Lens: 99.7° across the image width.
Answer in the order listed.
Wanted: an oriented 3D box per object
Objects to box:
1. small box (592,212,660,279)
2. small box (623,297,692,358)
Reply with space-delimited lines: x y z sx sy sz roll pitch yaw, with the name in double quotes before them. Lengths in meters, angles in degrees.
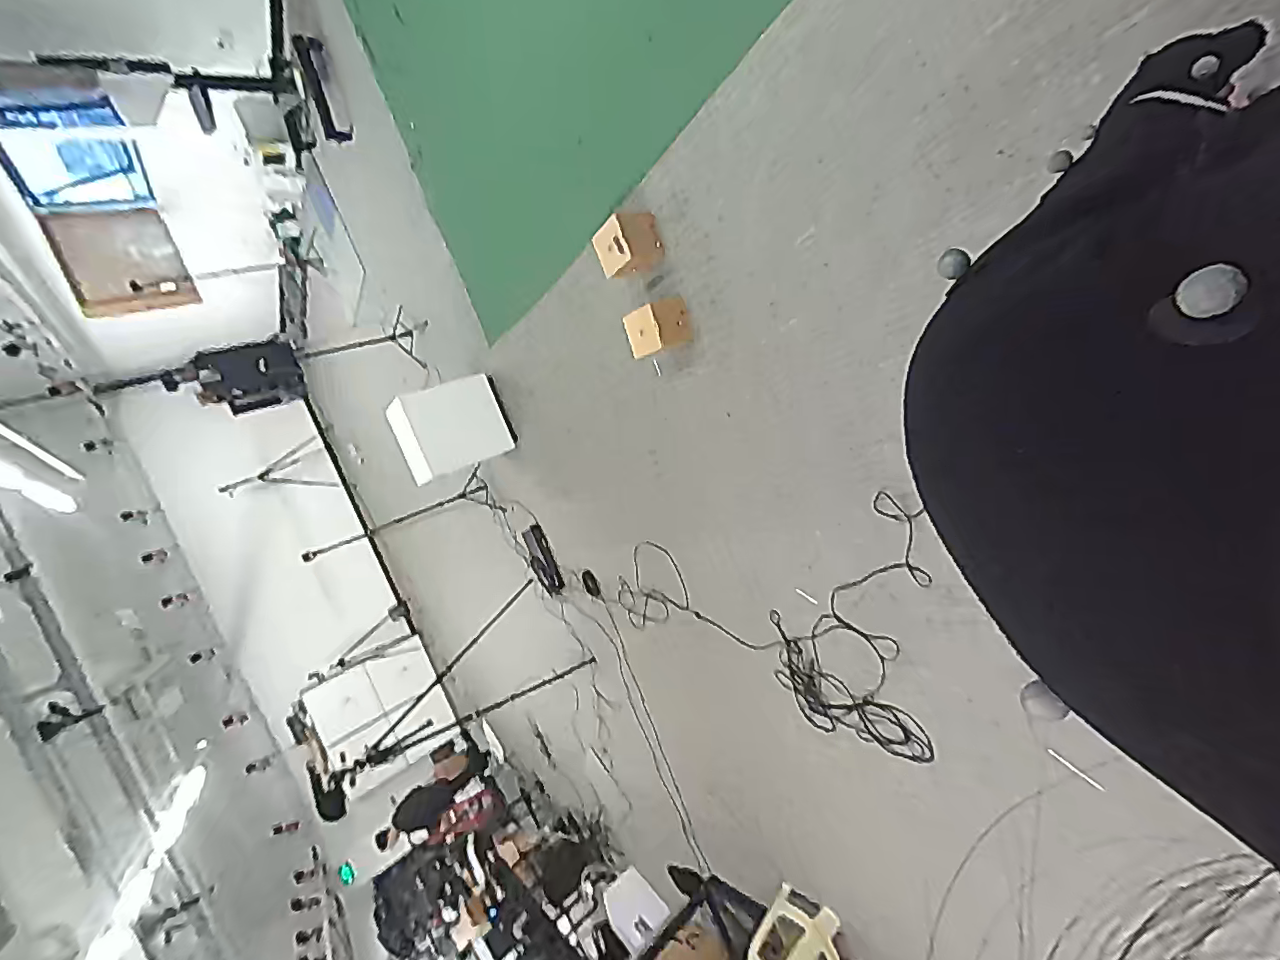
"small box" -0.044 -0.872 2.009 0.179 0.176 0.168 -15 98 56
"small box" 0.068 -0.575 2.043 0.179 0.176 0.168 -8 104 53
